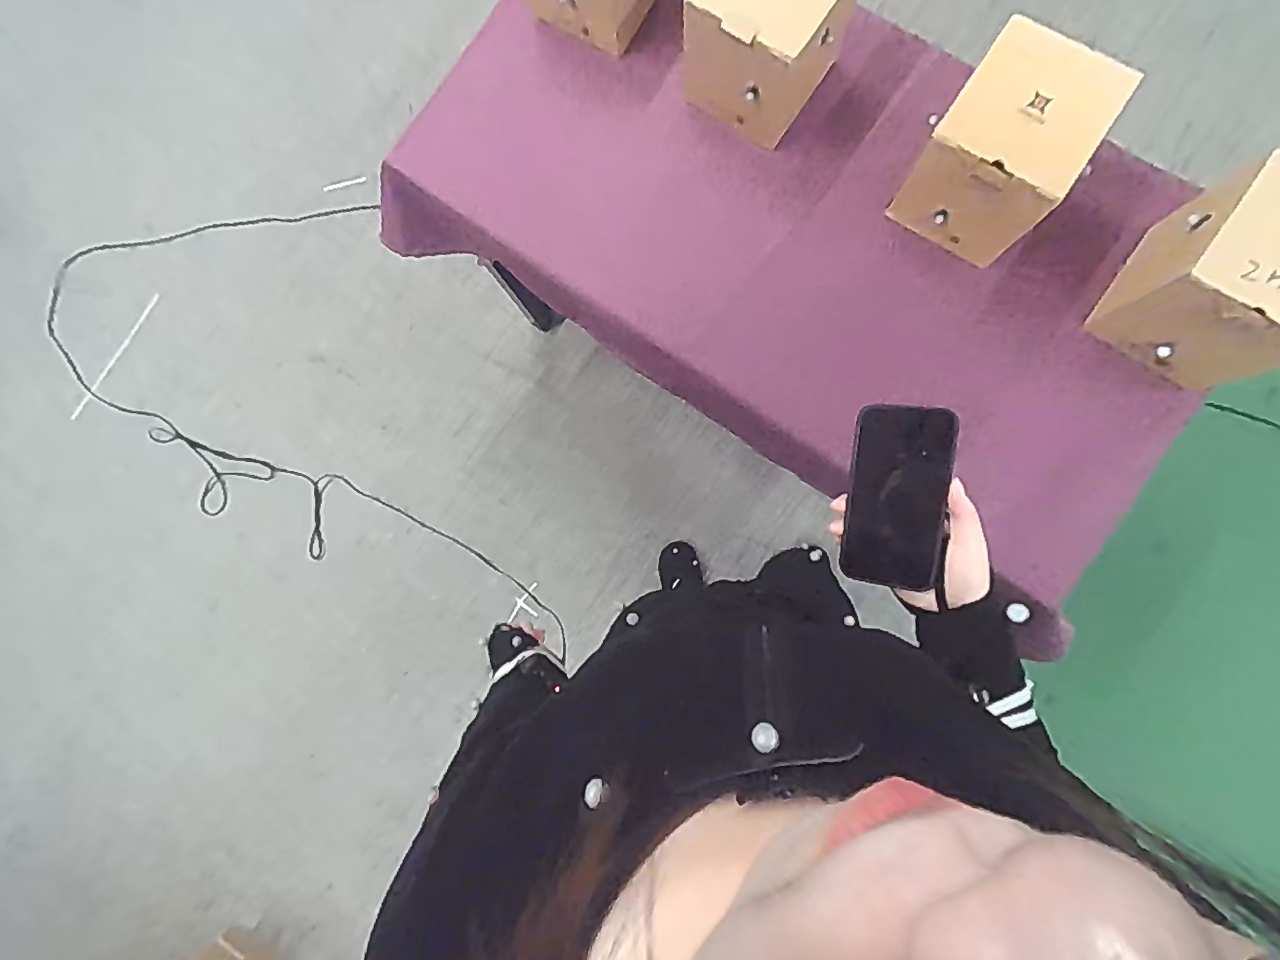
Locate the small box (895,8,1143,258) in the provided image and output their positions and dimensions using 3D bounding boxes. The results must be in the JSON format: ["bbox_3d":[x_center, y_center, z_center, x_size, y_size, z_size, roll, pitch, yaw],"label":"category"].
[{"bbox_3d":[0.467,-0.432,0.701,0.168,0.176,0.179,33,90,7],"label":"small box"}]

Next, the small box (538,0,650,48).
[{"bbox_3d":[-0.065,-0.785,0.775,0.168,0.176,0.179,30,90,6],"label":"small box"}]

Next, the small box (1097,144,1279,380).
[{"bbox_3d":[0.725,-0.251,0.658,0.168,0.176,0.179,35,90,8],"label":"small box"}]

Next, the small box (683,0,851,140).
[{"bbox_3d":[0.176,-0.621,0.742,0.168,0.176,0.179,35,90,6],"label":"small box"}]
